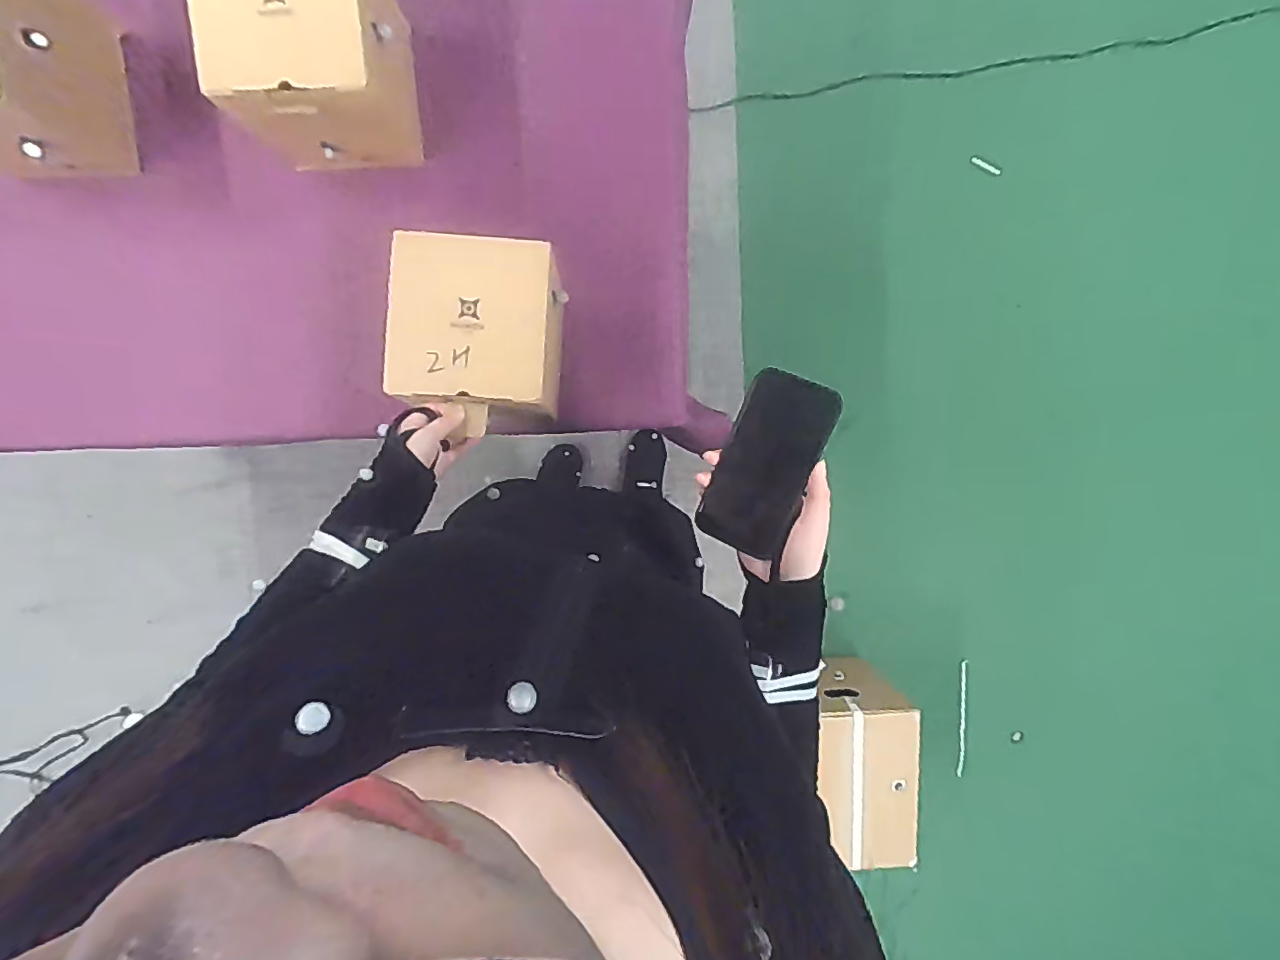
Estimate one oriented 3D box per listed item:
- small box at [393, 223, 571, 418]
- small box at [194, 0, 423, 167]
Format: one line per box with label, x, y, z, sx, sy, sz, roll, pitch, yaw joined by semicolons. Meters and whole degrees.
small box;-0.174;-0.176;0.648;0.168;0.176;0.179;4;90;-2
small box;-0.363;-0.488;0.616;0.168;0.176;0.179;-4;97;-3
